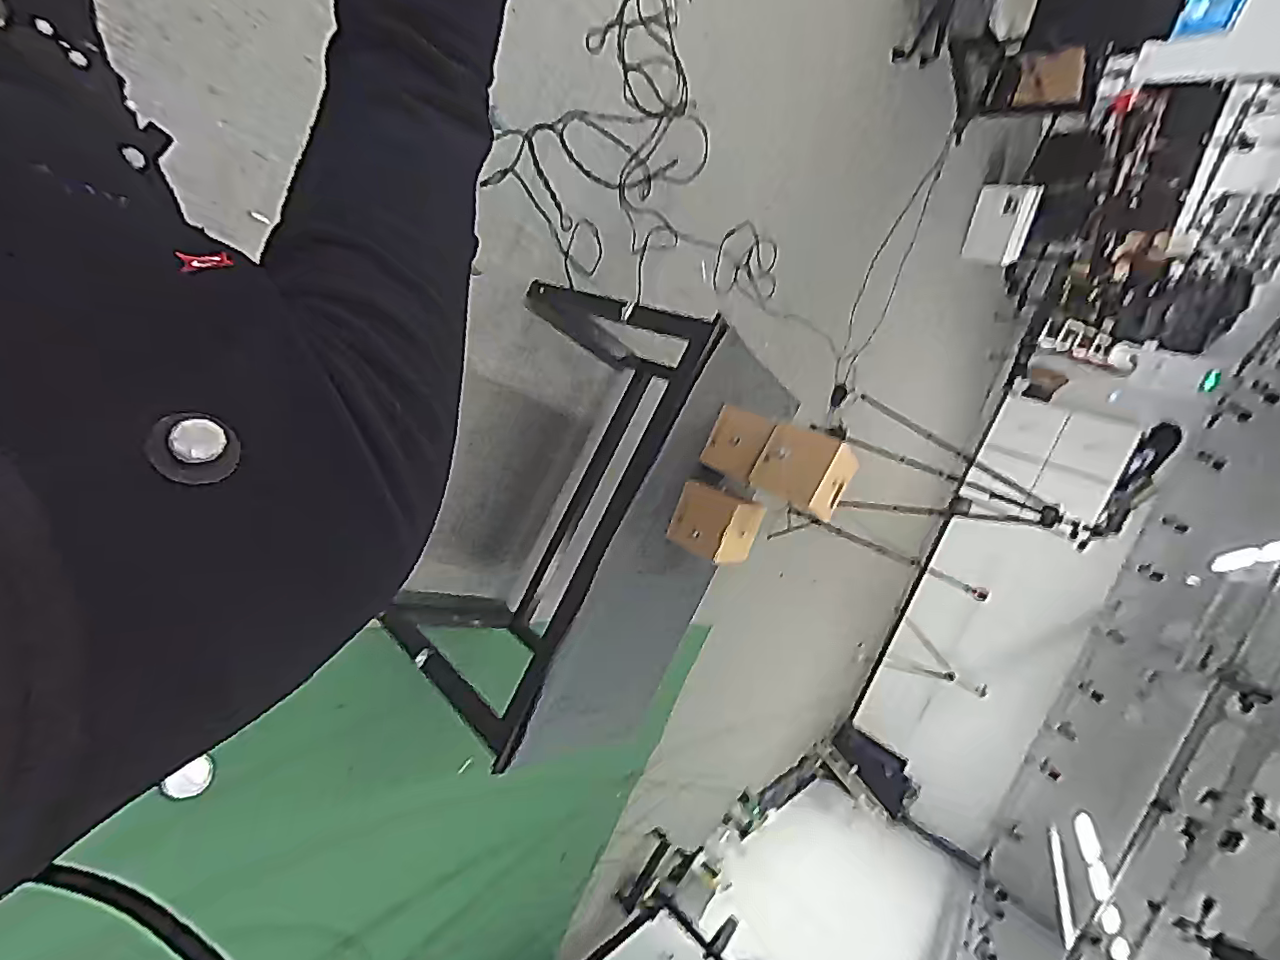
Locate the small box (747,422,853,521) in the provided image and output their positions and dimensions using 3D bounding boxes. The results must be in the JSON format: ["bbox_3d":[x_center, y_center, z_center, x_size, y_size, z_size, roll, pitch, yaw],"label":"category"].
[{"bbox_3d":[0.392,-0.023,1.327,0.179,0.176,0.168,29,89,-54],"label":"small box"}]

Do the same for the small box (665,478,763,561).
[{"bbox_3d":[0.194,0.104,1.451,0.179,0.176,0.168,8,108,-53],"label":"small box"}]
